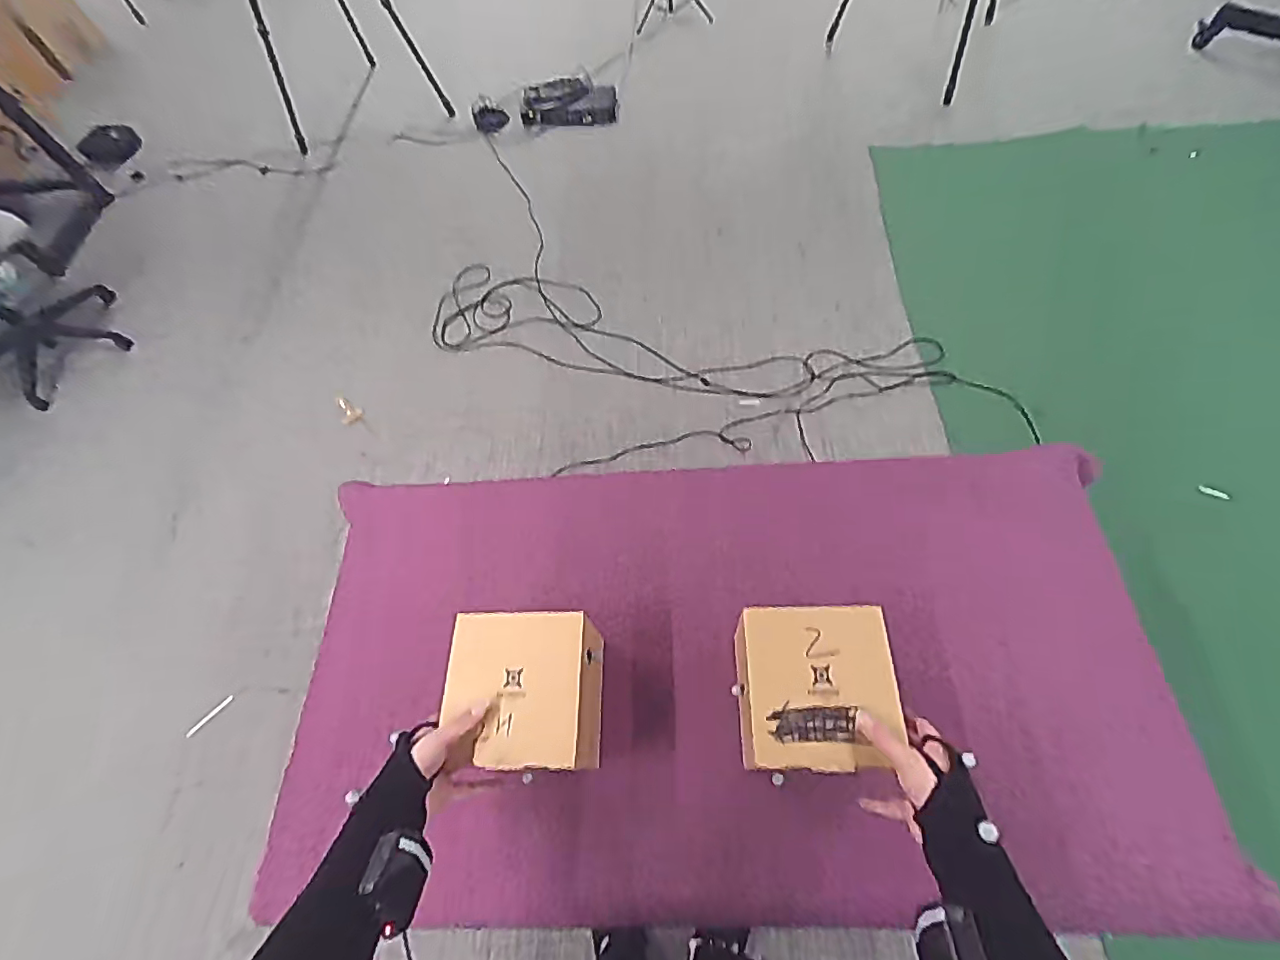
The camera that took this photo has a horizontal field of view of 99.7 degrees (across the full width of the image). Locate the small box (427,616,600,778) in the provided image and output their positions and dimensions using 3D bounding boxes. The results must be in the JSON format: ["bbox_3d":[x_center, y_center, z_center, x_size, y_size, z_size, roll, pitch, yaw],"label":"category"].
[{"bbox_3d":[-0.147,0.284,0.700,0.168,0.176,0.179,-2,62,5],"label":"small box"}]
